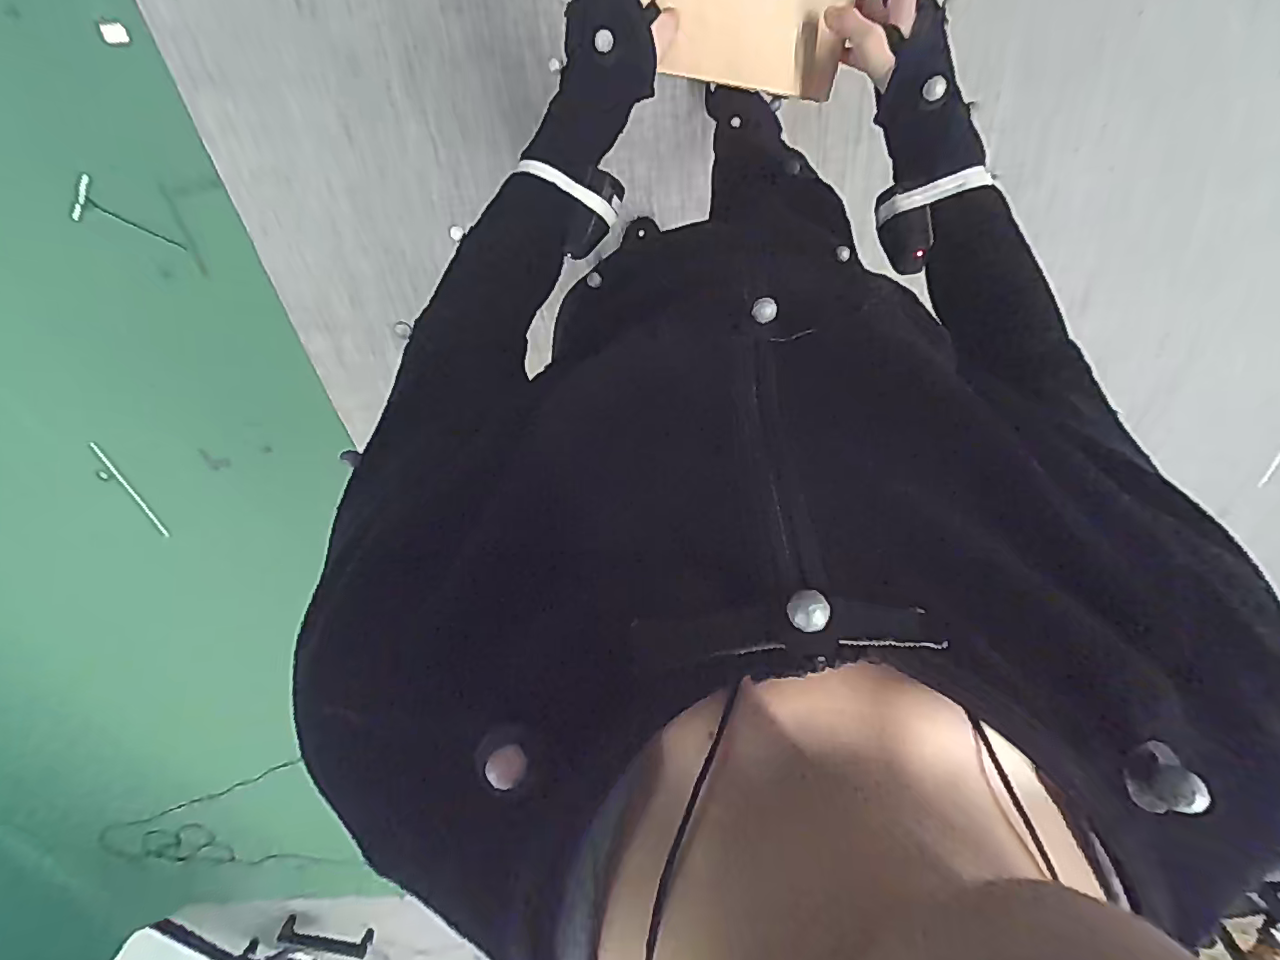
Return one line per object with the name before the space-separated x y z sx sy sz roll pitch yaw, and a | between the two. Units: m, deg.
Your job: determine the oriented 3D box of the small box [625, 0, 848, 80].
small box | 0.086 -0.483 0.496 0.179 0.176 0.168 0 129 -12
